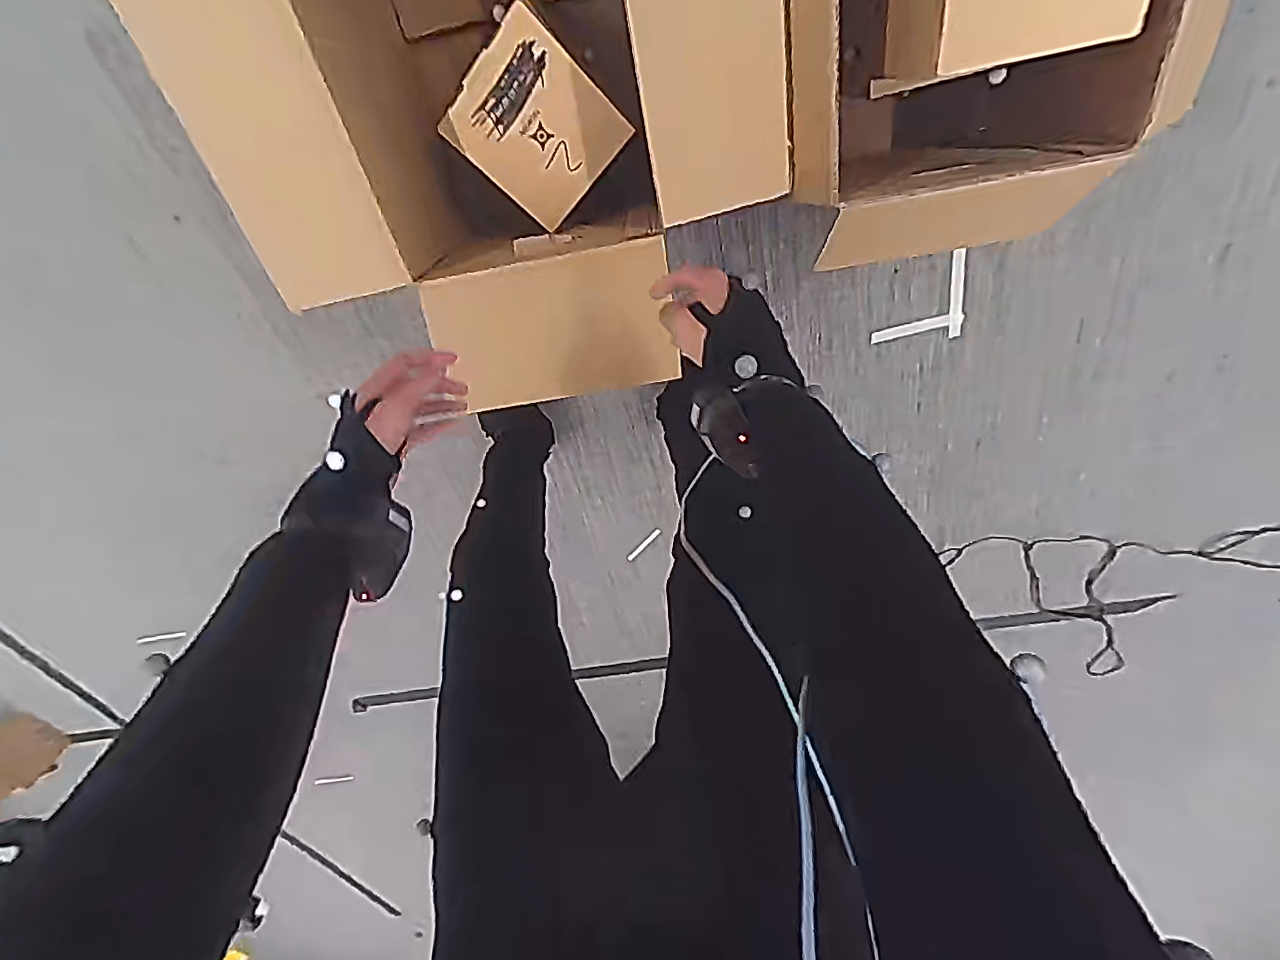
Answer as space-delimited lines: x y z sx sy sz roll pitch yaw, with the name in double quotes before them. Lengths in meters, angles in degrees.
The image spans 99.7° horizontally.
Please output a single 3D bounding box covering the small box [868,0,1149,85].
"small box" 0.332 -0.479 0.492 0.179 0.176 0.168 -8 127 6
